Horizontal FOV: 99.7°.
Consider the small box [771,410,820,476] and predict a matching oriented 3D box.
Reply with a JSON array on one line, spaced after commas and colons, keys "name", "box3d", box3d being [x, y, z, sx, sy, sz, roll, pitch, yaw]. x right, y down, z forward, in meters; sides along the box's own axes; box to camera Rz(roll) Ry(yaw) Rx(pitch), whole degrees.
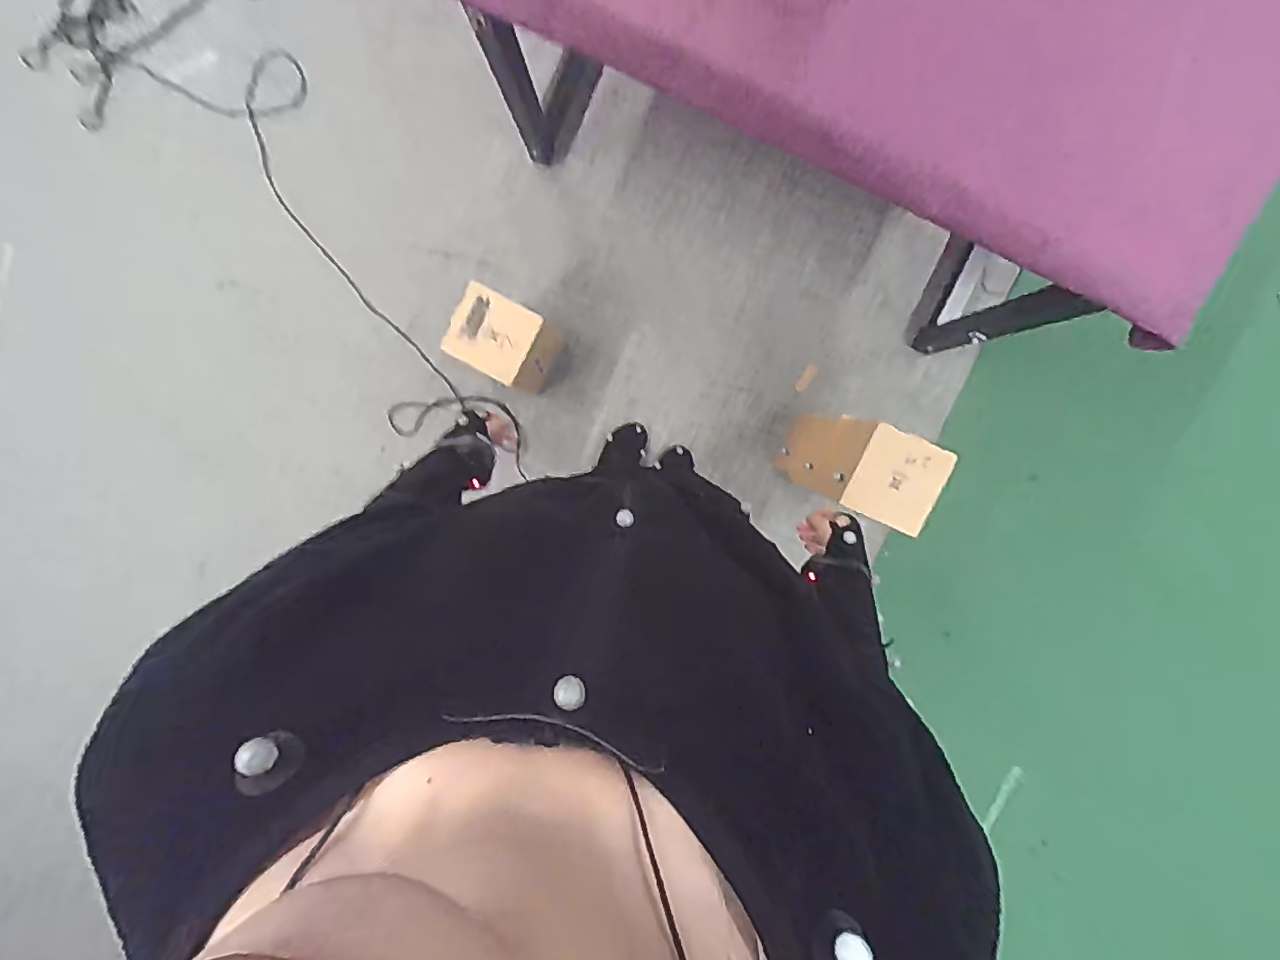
[{"name": "small box", "box3d": [0.469, -0.071, 1.418, 0.179, 0.176, 0.168, 26, 96, -3]}]

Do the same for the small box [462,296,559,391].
[{"name": "small box", "box3d": [-0.323, -0.340, 1.393, 0.168, 0.176, 0.179, 28, 96, -3]}]

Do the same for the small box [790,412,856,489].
[{"name": "small box", "box3d": [0.472, -0.050, 1.258, 0.168, 0.176, 0.179, 23, 98, -2]}]

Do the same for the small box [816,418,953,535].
[{"name": "small box", "box3d": [0.480, -0.015, 1.096, 0.168, 0.176, 0.179, 24, 97, -3]}]
